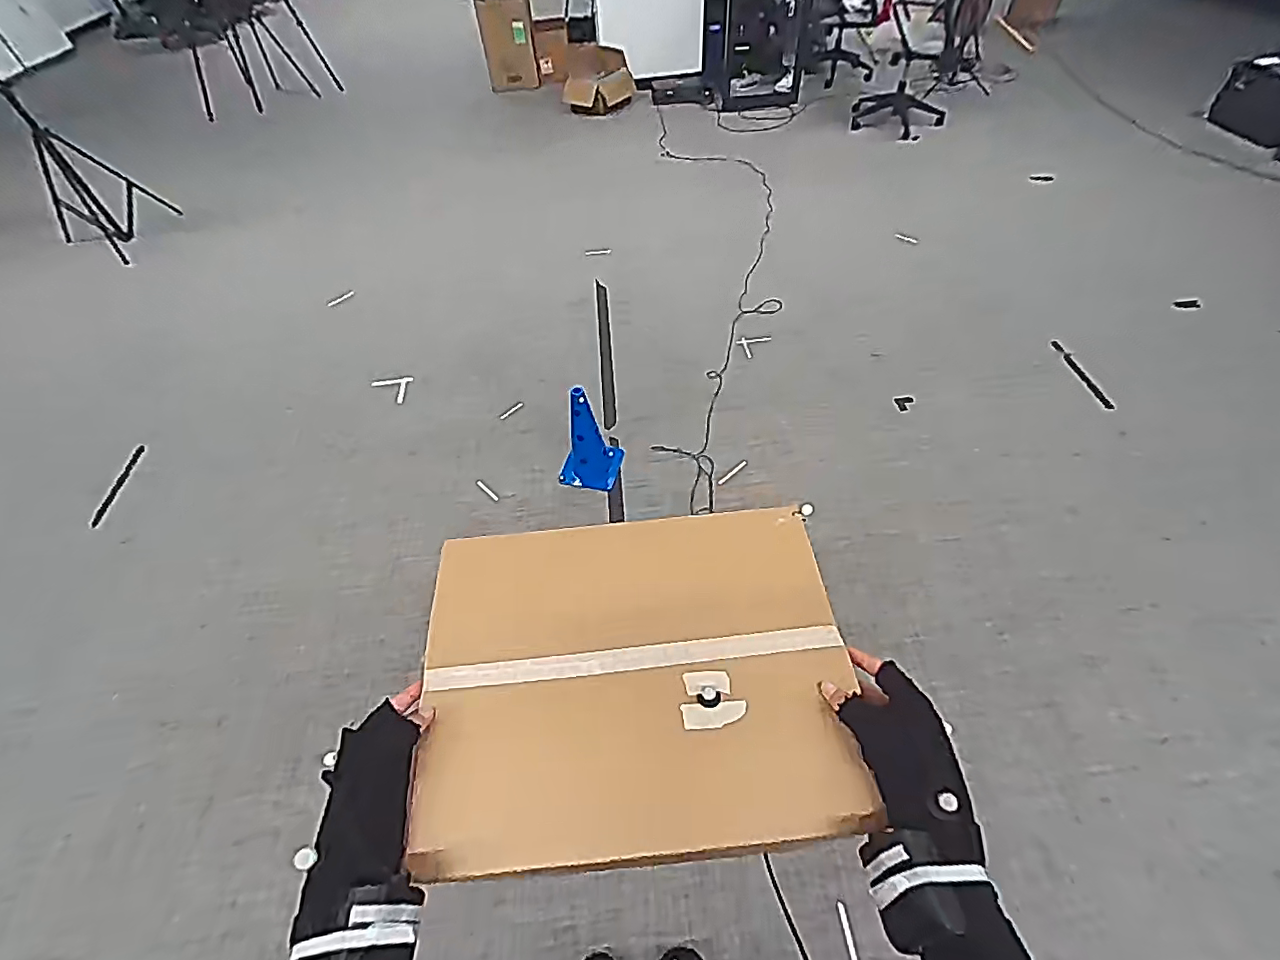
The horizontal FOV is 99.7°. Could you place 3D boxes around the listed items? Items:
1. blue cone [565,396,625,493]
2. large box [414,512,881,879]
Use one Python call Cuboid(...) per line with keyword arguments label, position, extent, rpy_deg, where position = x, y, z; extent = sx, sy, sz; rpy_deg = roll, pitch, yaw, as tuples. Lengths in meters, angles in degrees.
Cuboid(label="blue cone", position=(-0.171, -0.143, 1.822), extent=(0.193, 0.380, 0.192), rpy_deg=(10, 53, 13))
Cuboid(label="large box", position=(-0.001, 0.269, 0.656), extent=(0.408, 0.320, 0.320), rpy_deg=(-5, 53, -1))
